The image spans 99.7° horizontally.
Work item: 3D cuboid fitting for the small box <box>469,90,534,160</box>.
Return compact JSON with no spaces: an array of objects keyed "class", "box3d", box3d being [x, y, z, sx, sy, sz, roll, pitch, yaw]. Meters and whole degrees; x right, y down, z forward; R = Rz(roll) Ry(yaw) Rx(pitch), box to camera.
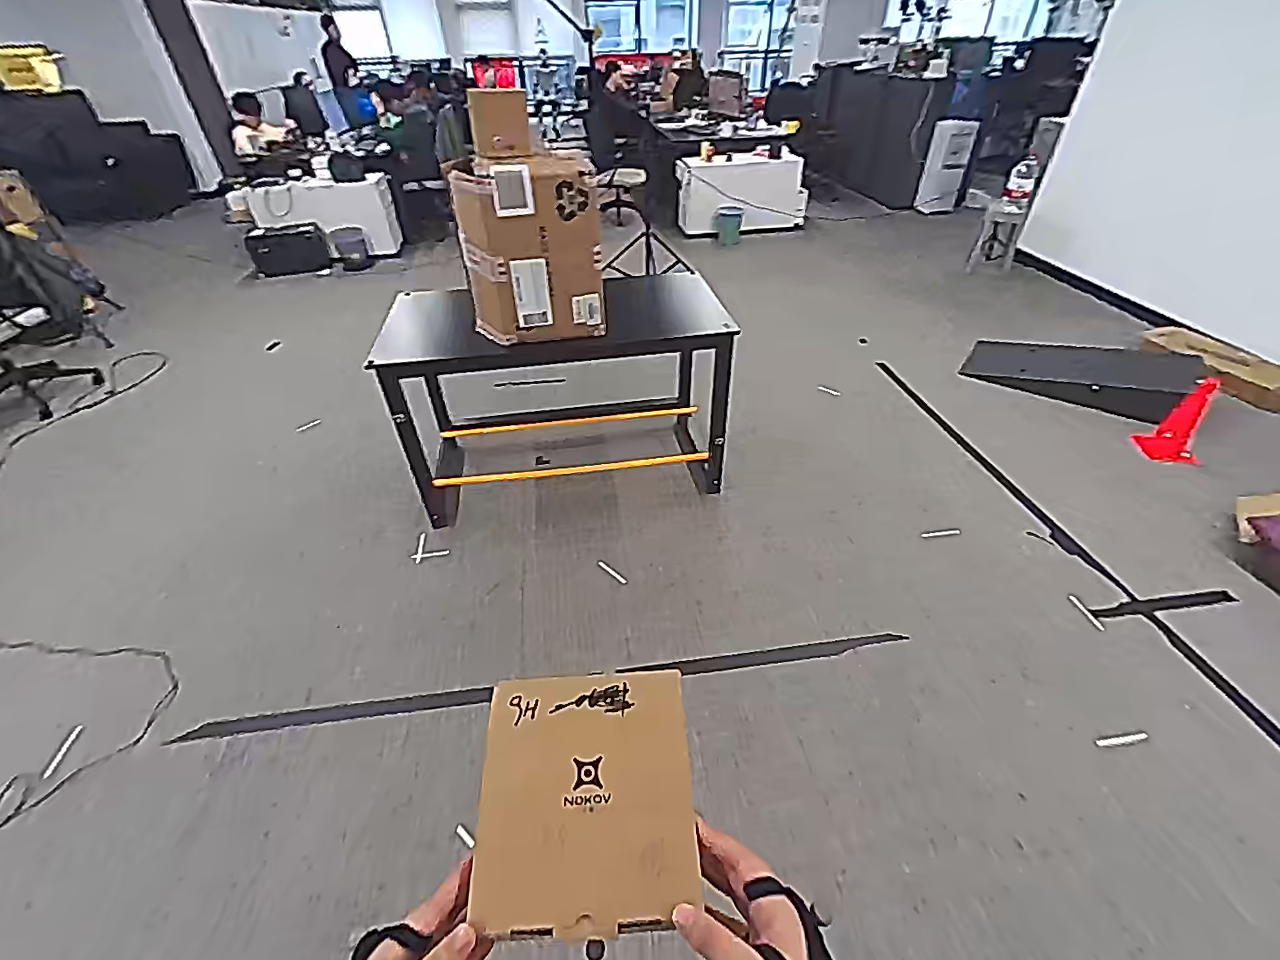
[{"class":"small box","box3d":[-0.424,-1.086,1.652,0.168,0.176,0.179,-10,39,-12]}]
